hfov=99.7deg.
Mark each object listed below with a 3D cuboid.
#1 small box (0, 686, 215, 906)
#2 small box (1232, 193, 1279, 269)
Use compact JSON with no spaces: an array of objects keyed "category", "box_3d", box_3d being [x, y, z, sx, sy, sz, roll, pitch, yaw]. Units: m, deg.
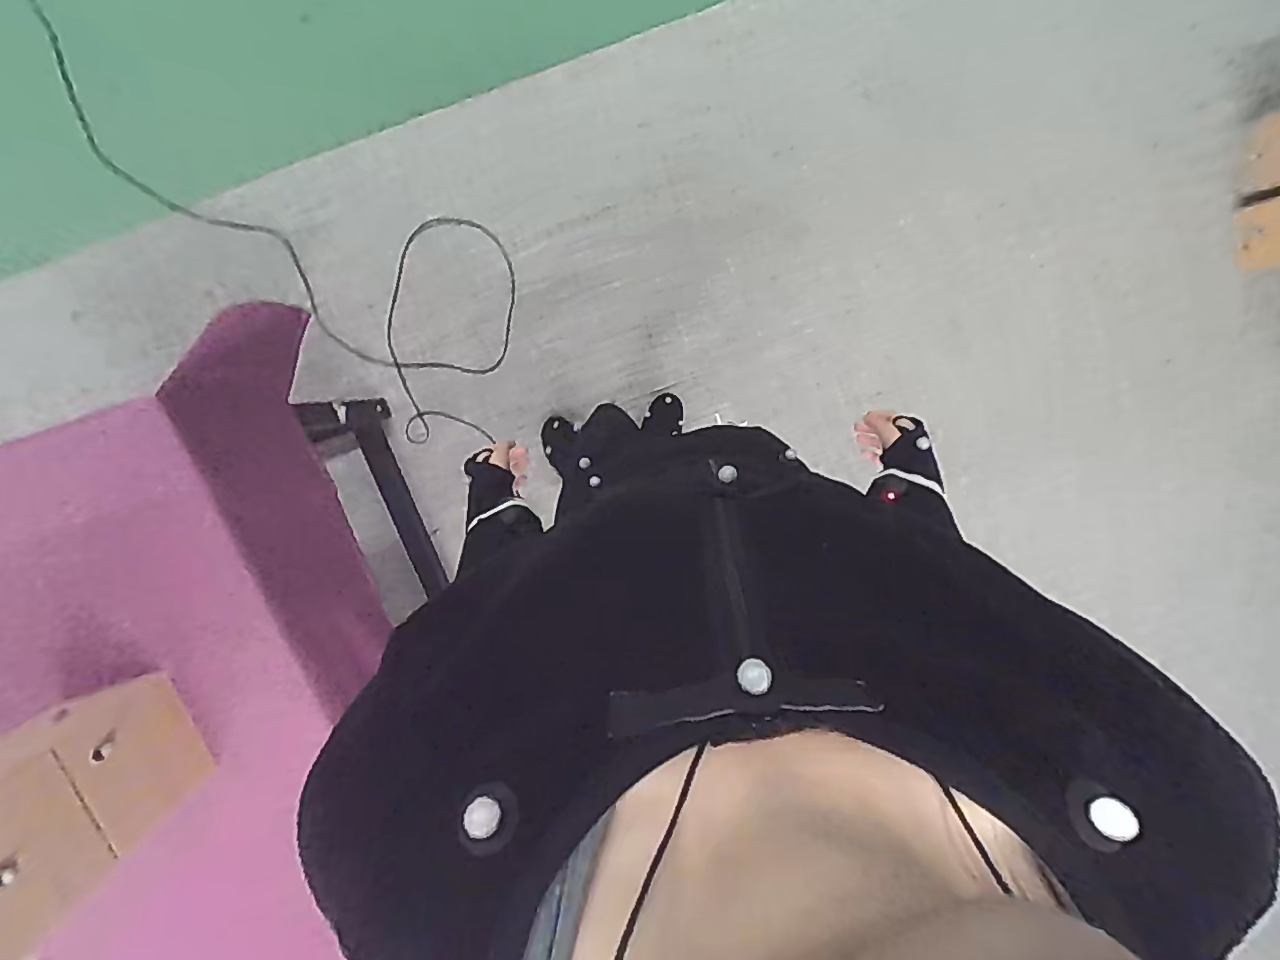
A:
[{"category":"small box","box_3d":[-0.734,0.402,0.722,0.168,0.176,0.179,-18,100,2]},{"category":"small box","box_3d":[1.687,-0.658,1.374,0.179,0.176,0.168,-20,100,2]}]
